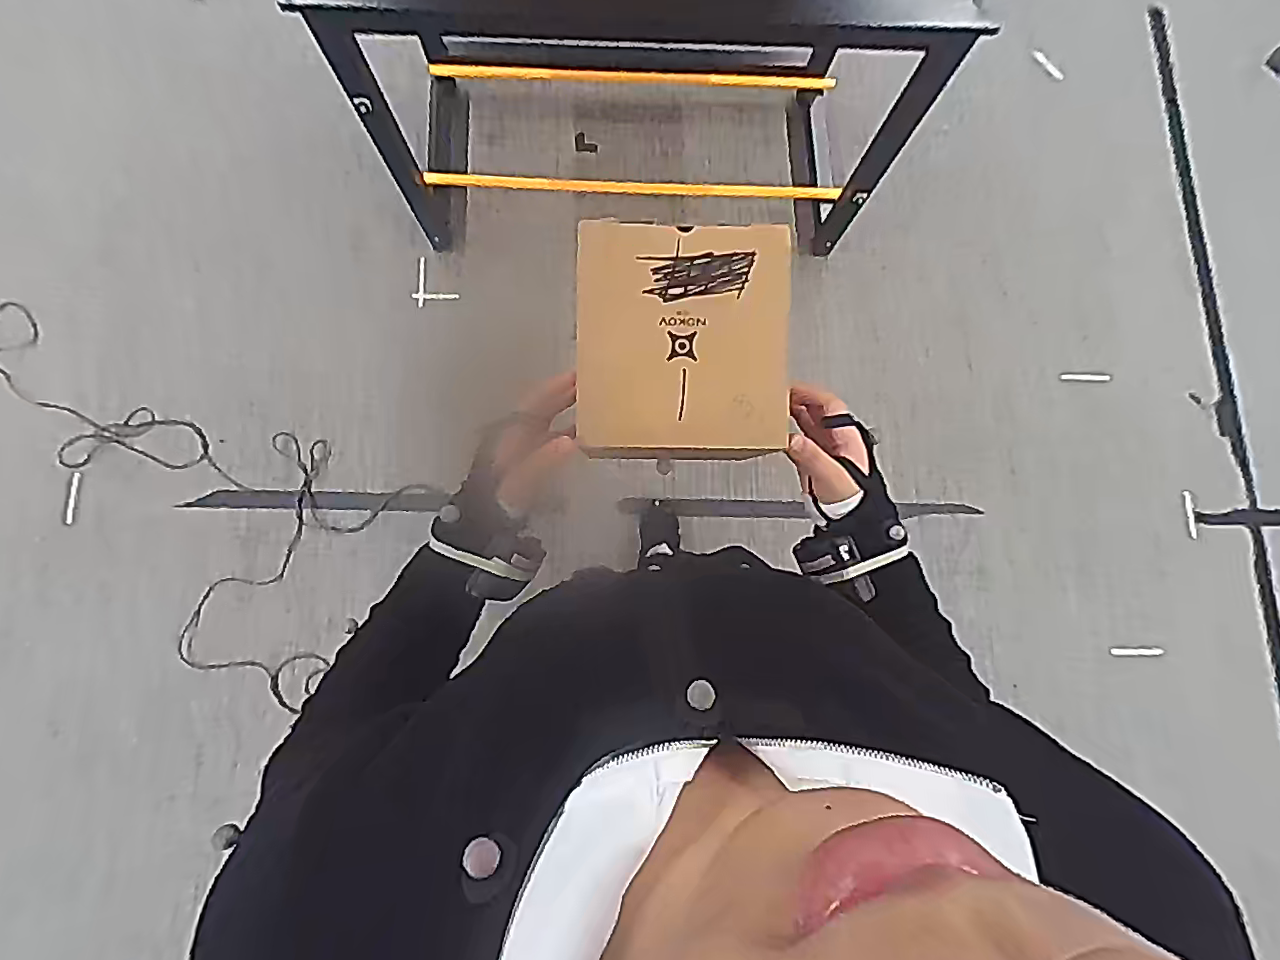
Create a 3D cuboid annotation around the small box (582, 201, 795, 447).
[{"bbox_3d":[0.035,-0.125,0.494,0.168,0.176,0.179,0,89,-1],"label":"small box"}]
